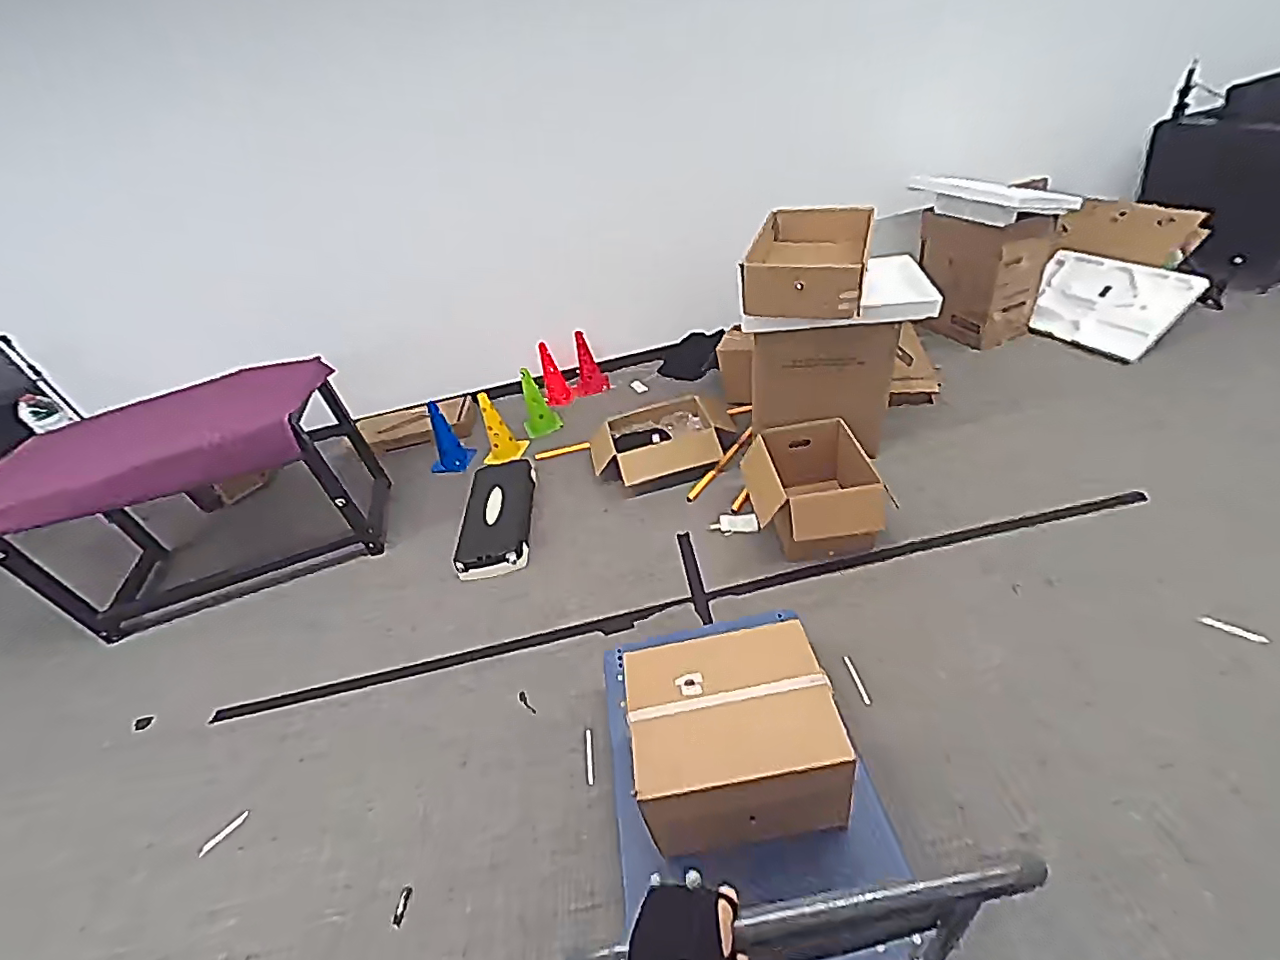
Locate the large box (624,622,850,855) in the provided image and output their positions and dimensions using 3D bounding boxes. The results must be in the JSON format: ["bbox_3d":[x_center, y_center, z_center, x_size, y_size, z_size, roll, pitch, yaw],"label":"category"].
[{"bbox_3d":[0.203,0.569,1.191,0.408,0.320,0.320,-13,36,2],"label":"large box"}]
